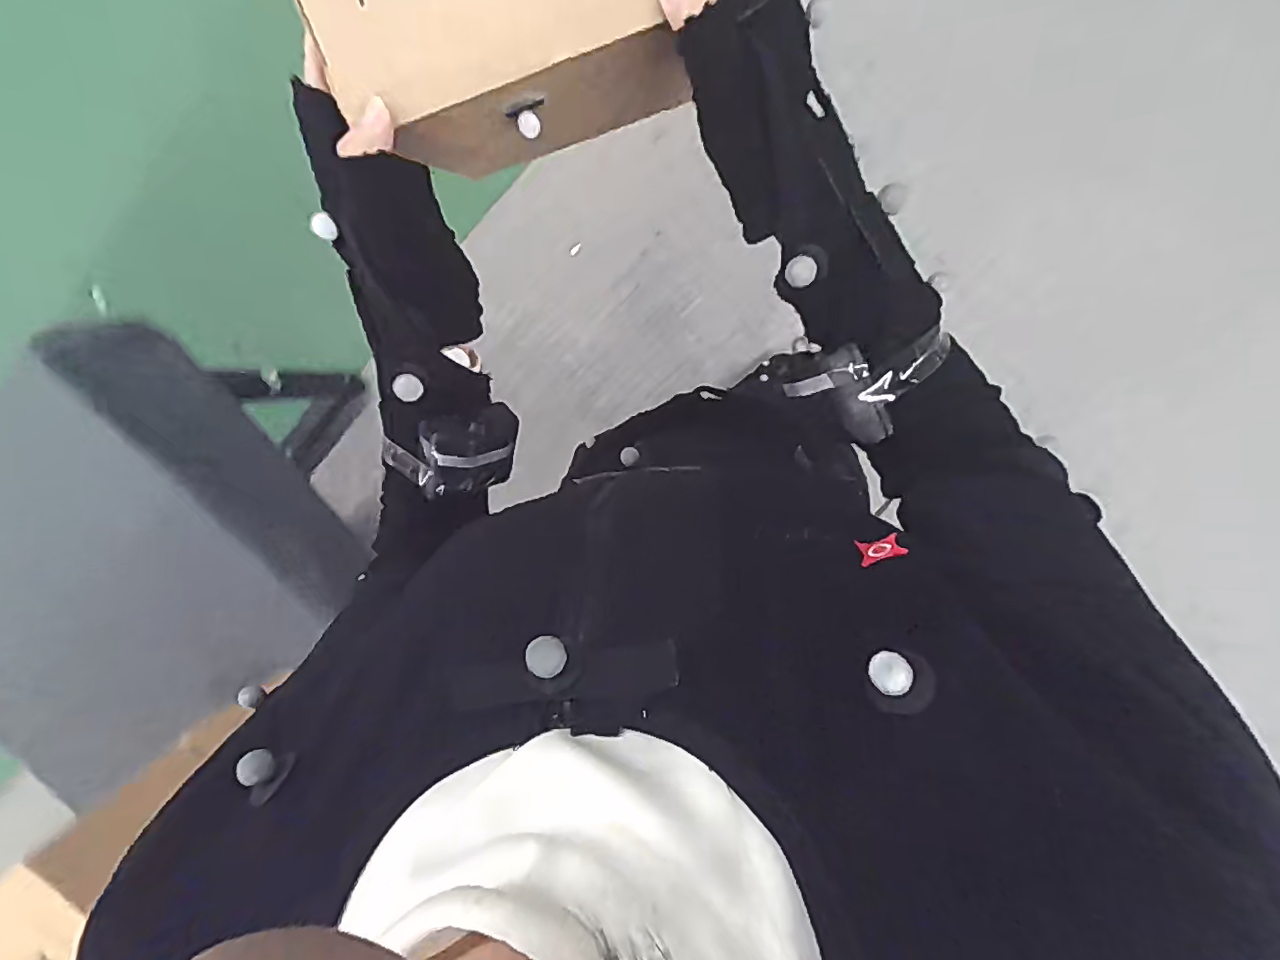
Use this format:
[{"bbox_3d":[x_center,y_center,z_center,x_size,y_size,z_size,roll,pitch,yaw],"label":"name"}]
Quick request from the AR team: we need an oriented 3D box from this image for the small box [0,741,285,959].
[{"bbox_3d":[-0.546,0.439,0.596,0.168,0.176,0.179,44,102,-4],"label":"small box"}]

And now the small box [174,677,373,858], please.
[{"bbox_3d":[-0.525,0.405,0.754,0.168,0.176,0.179,-43,92,13],"label":"small box"}]
